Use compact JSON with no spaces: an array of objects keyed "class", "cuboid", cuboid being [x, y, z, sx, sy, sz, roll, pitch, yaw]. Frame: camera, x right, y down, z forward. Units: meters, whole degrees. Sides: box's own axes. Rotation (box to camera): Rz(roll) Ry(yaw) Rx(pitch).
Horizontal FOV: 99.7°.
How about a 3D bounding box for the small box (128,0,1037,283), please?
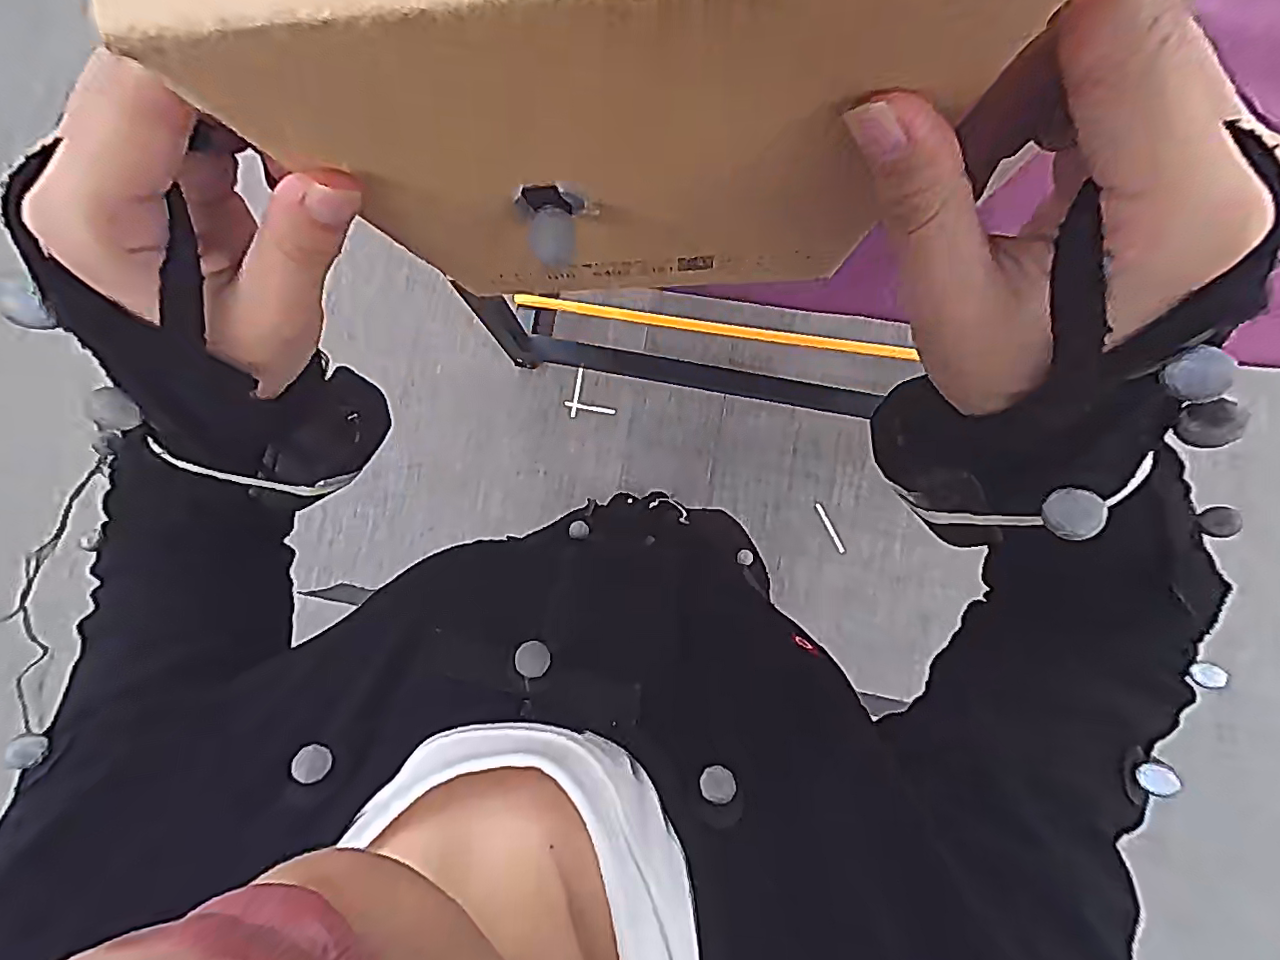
[{"class":"small box","cuboid":[-0.003,-0.167,0.161,0.168,0.176,0.179,-1,93,6]}]
